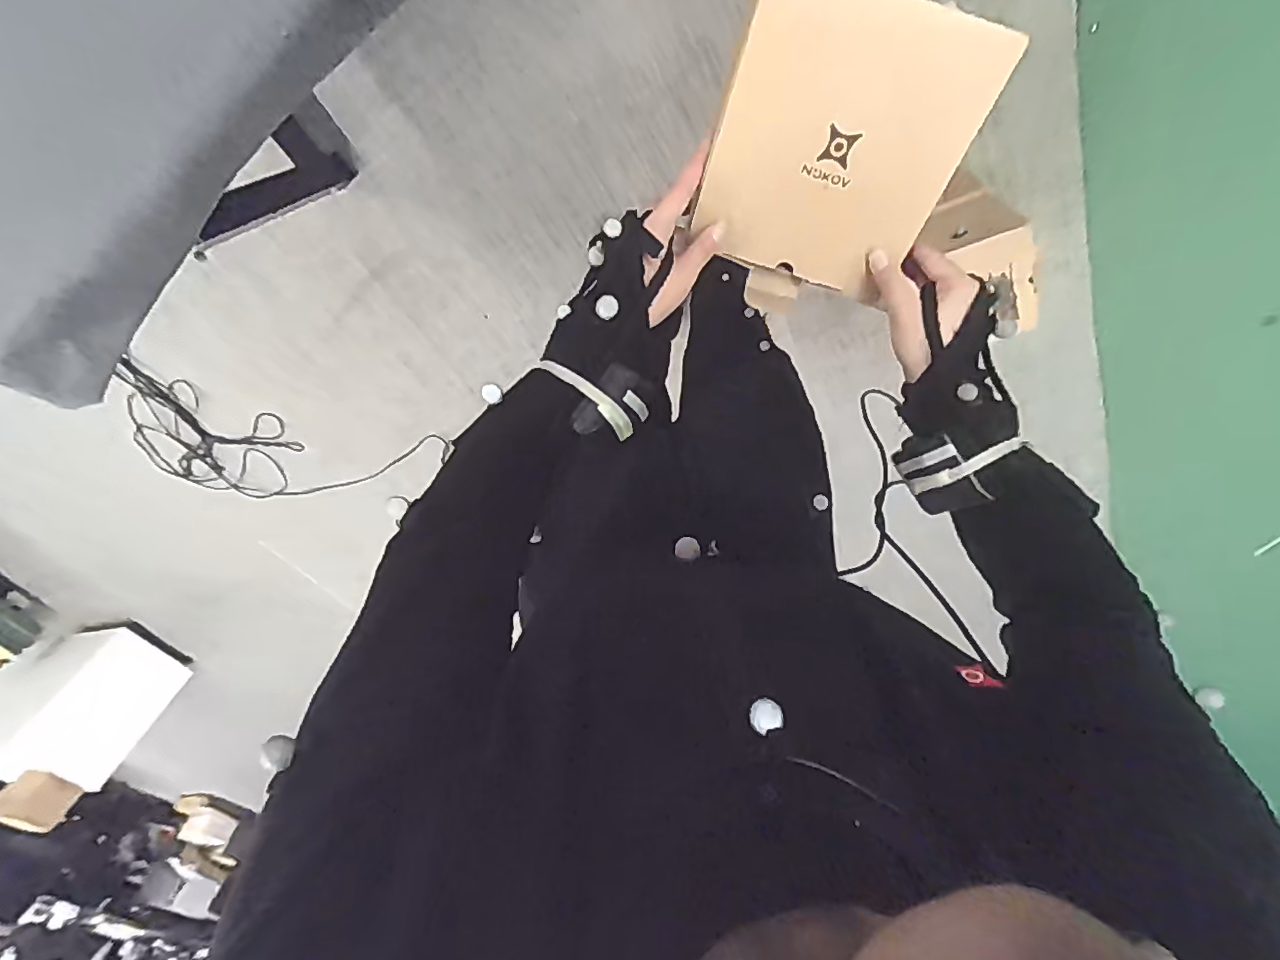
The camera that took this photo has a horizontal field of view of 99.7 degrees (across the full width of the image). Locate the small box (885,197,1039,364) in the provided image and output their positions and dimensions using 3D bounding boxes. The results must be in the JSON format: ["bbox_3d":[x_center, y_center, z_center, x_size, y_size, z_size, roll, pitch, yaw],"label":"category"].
[{"bbox_3d":[0.490,-0.315,0.848,0.179,0.176,0.168,-15,125,23],"label":"small box"}]

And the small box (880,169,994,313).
[{"bbox_3d":[0.511,-0.426,0.967,0.179,0.176,0.168,-15,125,23],"label":"small box"}]

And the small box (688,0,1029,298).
[{"bbox_3d":[0.143,-0.279,0.429,0.168,0.176,0.179,15,131,-4],"label":"small box"}]
